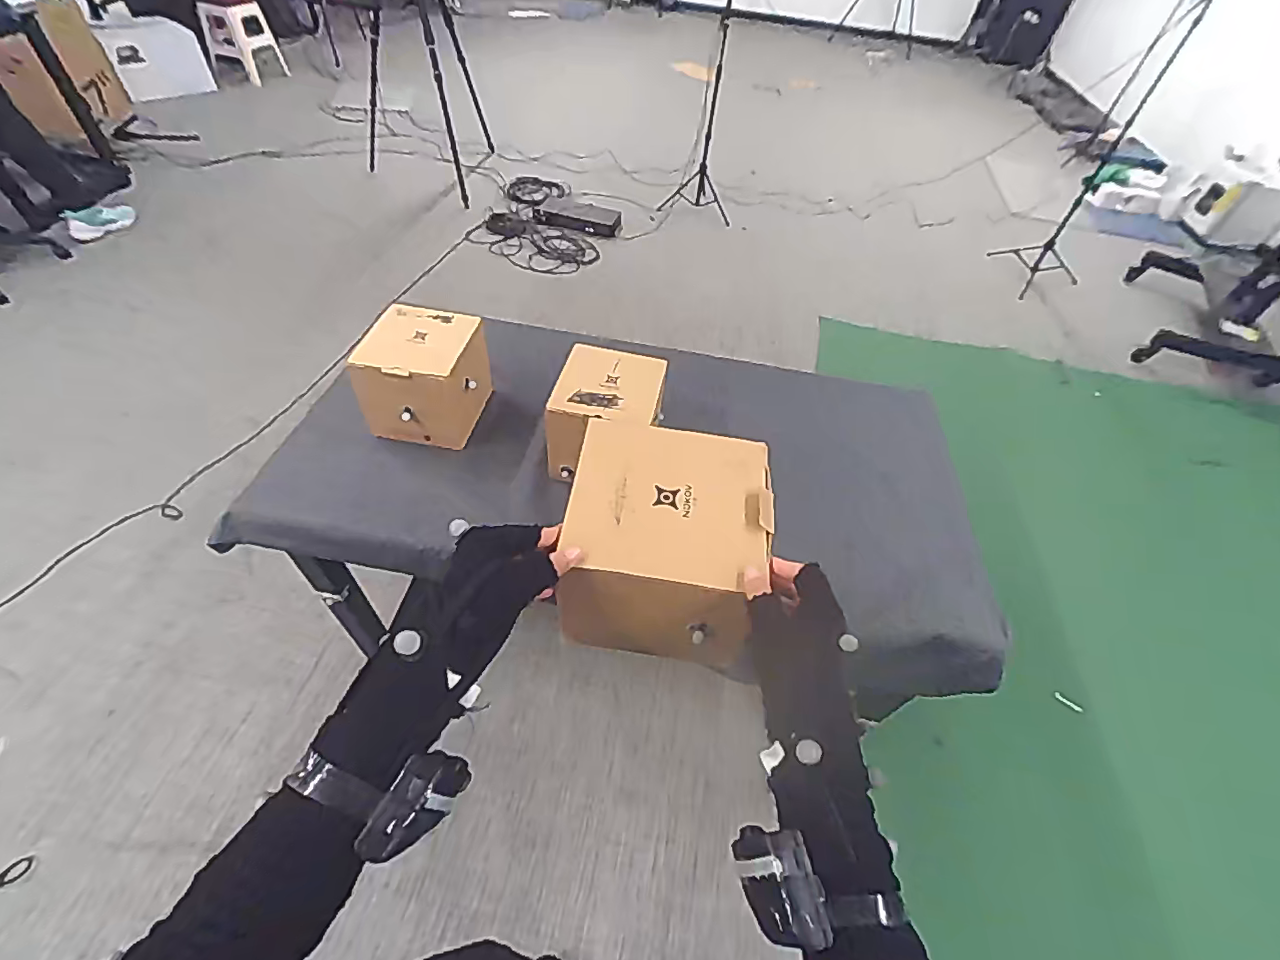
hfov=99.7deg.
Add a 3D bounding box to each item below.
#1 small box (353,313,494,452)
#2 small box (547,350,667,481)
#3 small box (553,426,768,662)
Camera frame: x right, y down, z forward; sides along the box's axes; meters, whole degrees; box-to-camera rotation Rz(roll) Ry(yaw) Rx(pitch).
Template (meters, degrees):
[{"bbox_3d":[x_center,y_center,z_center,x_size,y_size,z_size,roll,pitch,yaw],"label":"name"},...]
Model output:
[{"bbox_3d":[-0.374,-0.172,0.976,0.168,0.176,0.179,9,50,2],"label":"small box"},{"bbox_3d":[-0.053,-0.096,0.943,0.168,0.176,0.179,11,48,4],"label":"small box"},{"bbox_3d":[0.021,0.070,0.542,0.179,0.176,0.168,6,51,2],"label":"small box"}]
